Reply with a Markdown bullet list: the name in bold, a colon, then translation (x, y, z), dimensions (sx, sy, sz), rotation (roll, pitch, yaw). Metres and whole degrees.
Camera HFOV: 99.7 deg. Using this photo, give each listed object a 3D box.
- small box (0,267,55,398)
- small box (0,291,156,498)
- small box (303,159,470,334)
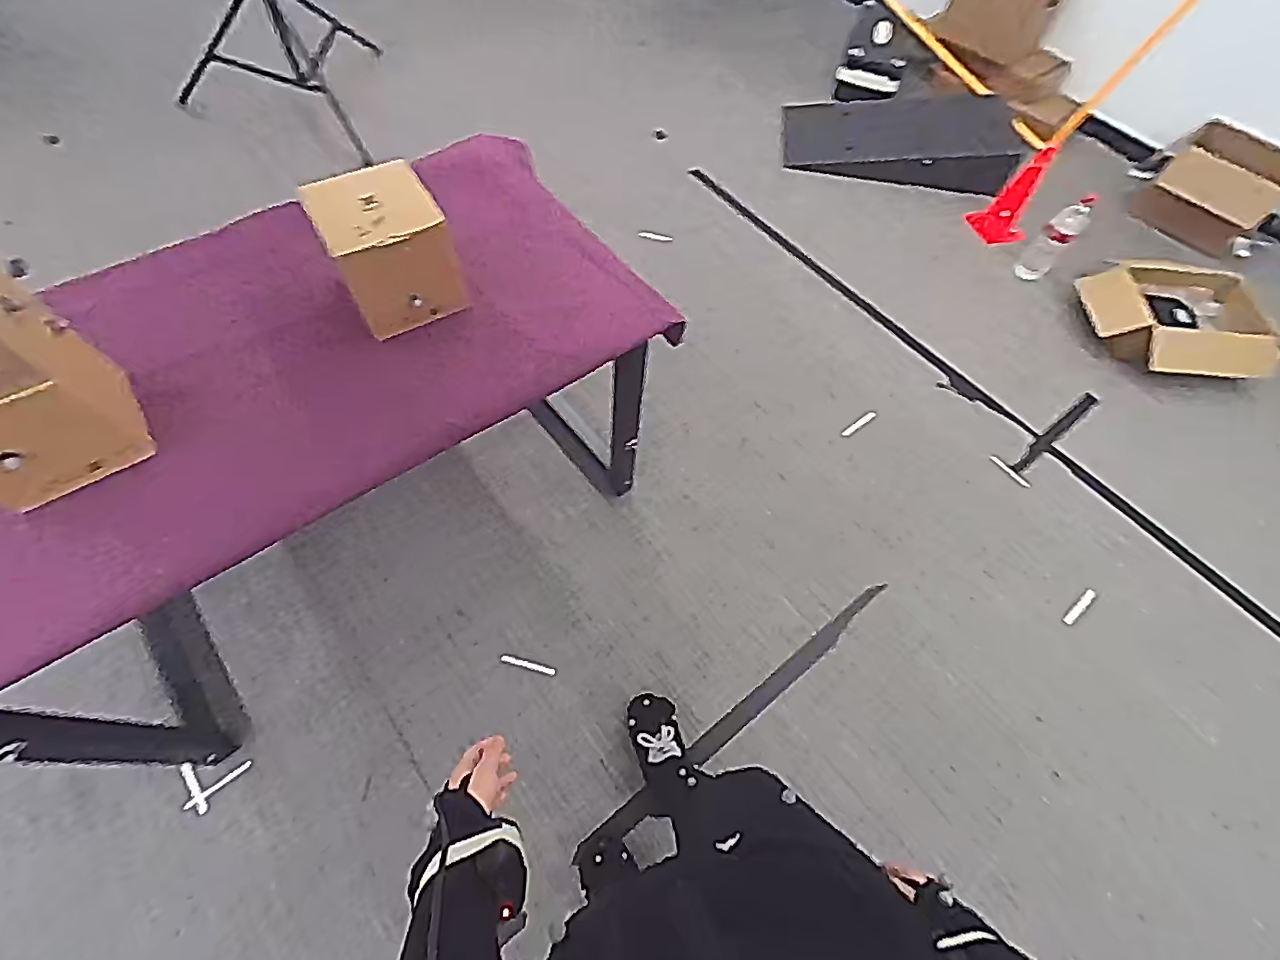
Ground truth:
- **small box**: translation (-0.778, -0.180, 0.554), dimensions (0.168, 0.176, 0.179), rotation (-33, 68, -19)
- **small box**: translation (-0.785, -0.098, 0.697), dimensions (0.168, 0.176, 0.179), rotation (-32, 69, -19)
- **small box**: translation (-0.397, -0.370, 0.869), dimensions (0.168, 0.176, 0.179), rotation (-28, 68, -17)
